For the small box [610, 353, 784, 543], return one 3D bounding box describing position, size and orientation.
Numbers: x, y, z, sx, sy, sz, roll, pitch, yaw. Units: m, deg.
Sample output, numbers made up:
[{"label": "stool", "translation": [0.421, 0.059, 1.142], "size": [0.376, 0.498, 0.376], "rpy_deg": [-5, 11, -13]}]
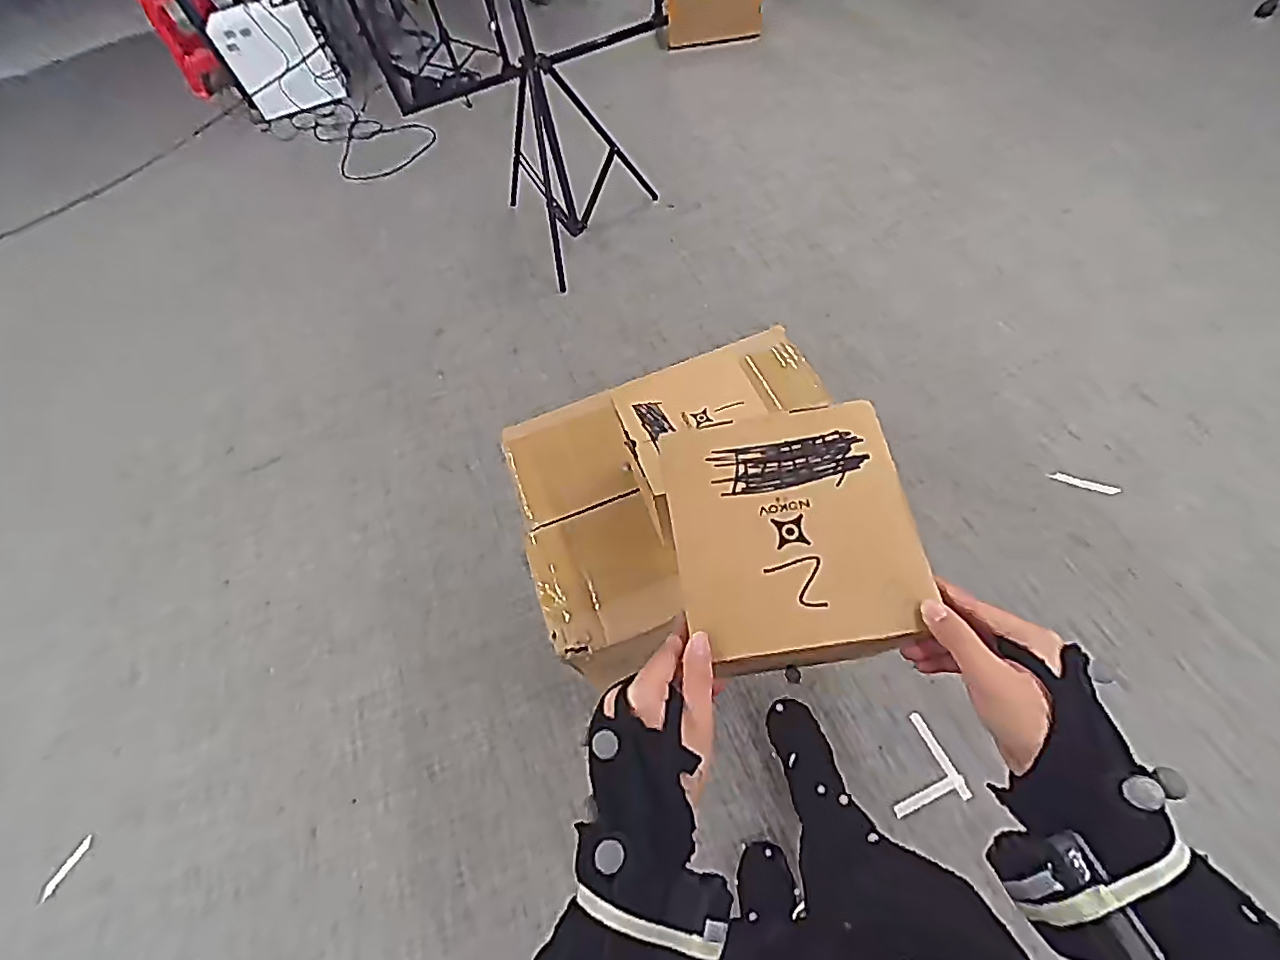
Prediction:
[{"label": "small box", "translation": [0.077, -0.036, 0.744], "size": [0.179, 0.176, 0.168], "rpy_deg": [-21, 61, -4]}]
